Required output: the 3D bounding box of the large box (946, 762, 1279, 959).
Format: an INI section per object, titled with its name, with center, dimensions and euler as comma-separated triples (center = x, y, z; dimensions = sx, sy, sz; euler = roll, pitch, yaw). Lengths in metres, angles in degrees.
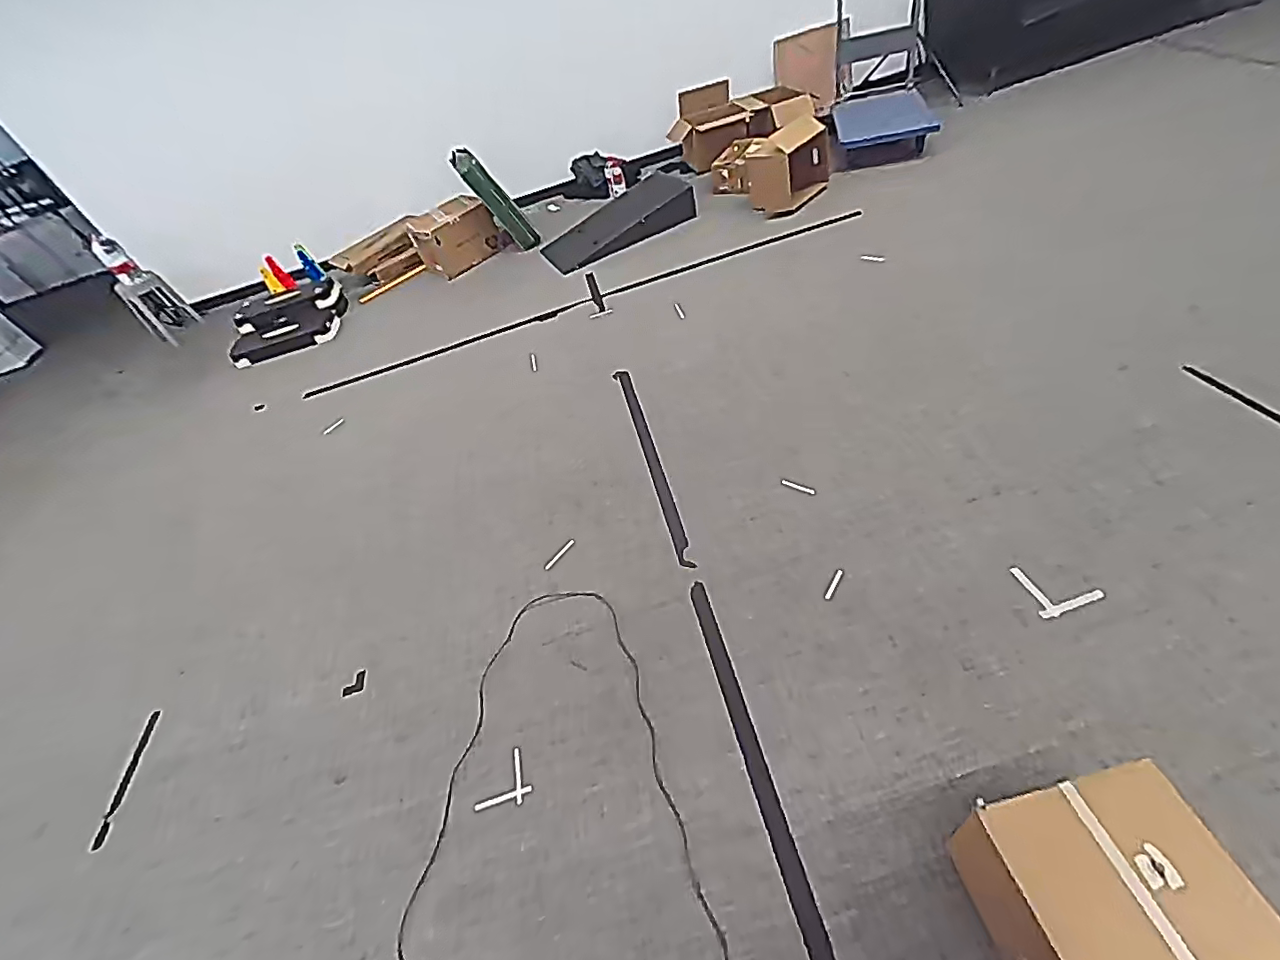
[large box]
center = 0.798, 0.770, 0.908
dimensions = 0.320, 0.320, 0.408
euler = -16, 44, 0
